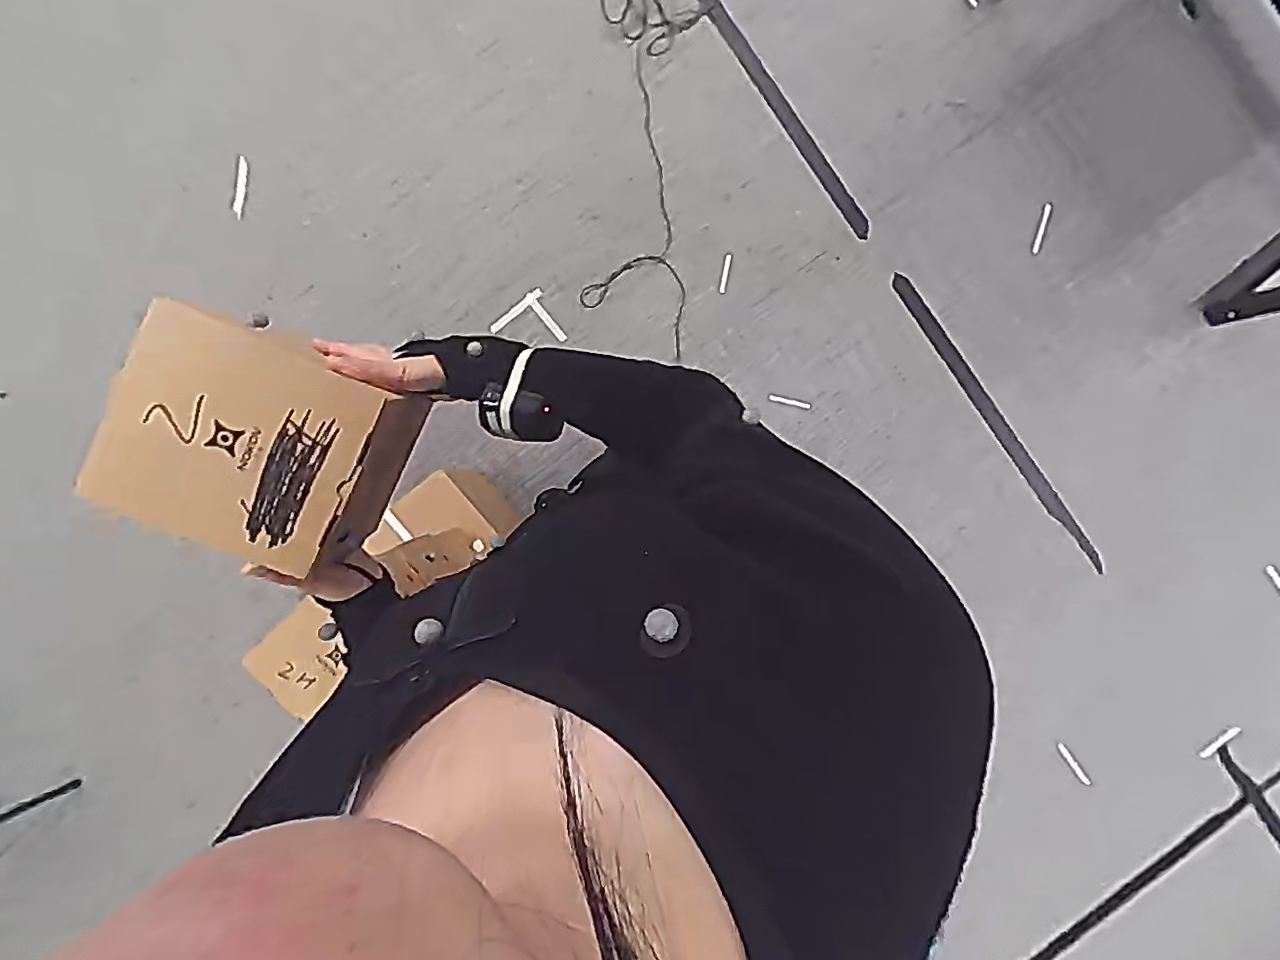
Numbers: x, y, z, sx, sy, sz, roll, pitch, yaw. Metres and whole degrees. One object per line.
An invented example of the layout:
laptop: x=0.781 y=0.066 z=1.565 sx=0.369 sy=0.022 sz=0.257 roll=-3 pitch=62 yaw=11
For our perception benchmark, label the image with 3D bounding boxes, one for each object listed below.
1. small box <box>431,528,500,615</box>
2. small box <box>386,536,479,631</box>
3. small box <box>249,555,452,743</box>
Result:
small box: x=-0.417 y=0.220 z=1.119 sx=0.179 sy=0.176 sz=0.168 roll=-40 pitch=93 yaw=-1
small box: x=-0.408 y=0.219 z=0.957 sx=0.179 sy=0.176 sz=0.168 roll=-41 pitch=92 yaw=0
small box: x=-0.401 y=0.230 z=0.792 sx=0.168 sy=0.176 sz=0.179 roll=45 pitch=89 yaw=-2
